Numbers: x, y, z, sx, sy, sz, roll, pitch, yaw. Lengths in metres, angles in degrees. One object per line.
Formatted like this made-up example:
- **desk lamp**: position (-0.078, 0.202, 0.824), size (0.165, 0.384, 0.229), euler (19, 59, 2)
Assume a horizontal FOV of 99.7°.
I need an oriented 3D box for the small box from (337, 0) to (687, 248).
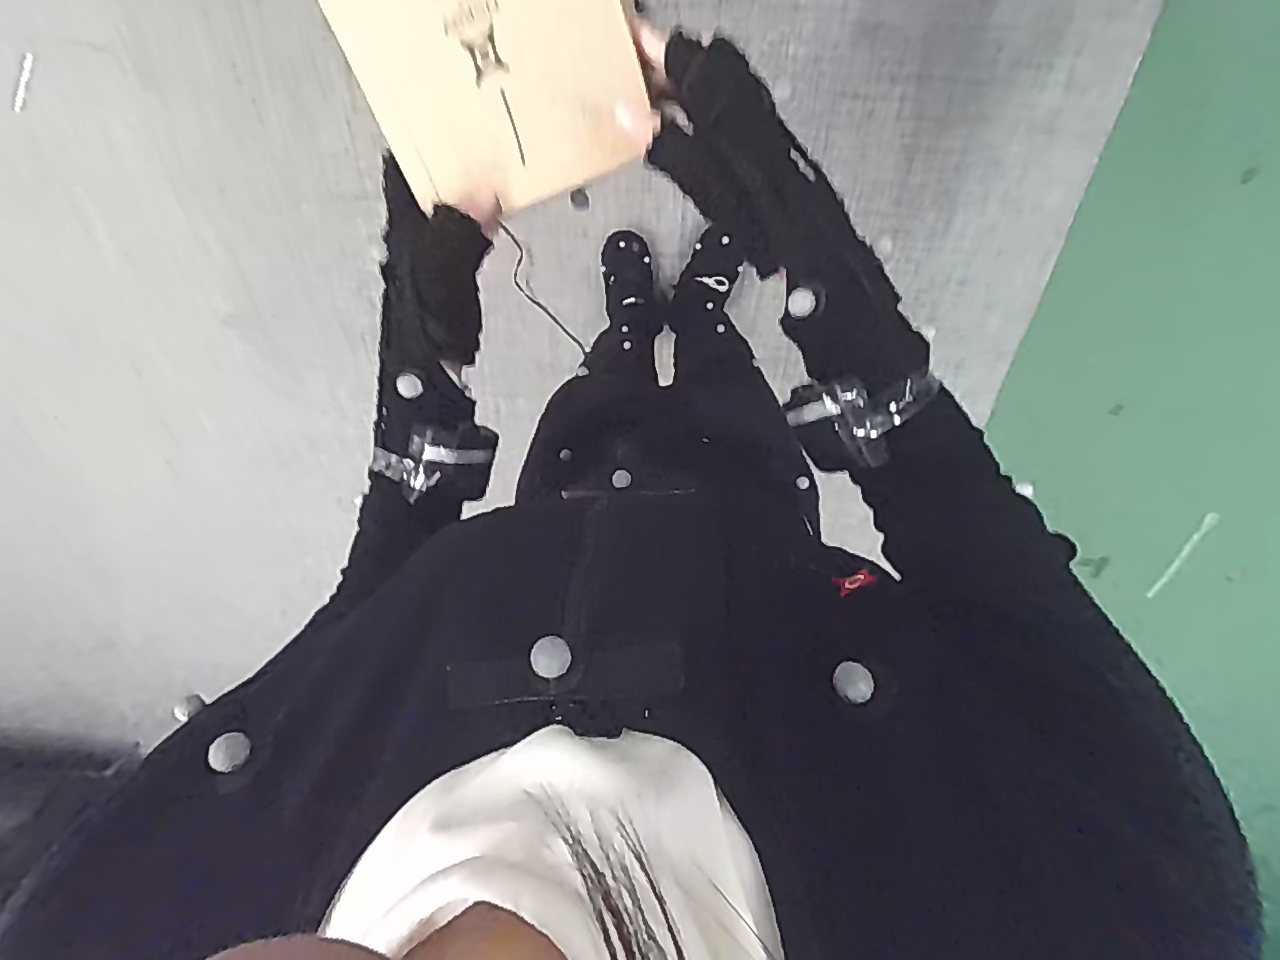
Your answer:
- **small box**: position (-0.070, -0.289, 0.384), size (0.168, 0.176, 0.179), euler (-13, 118, 17)
